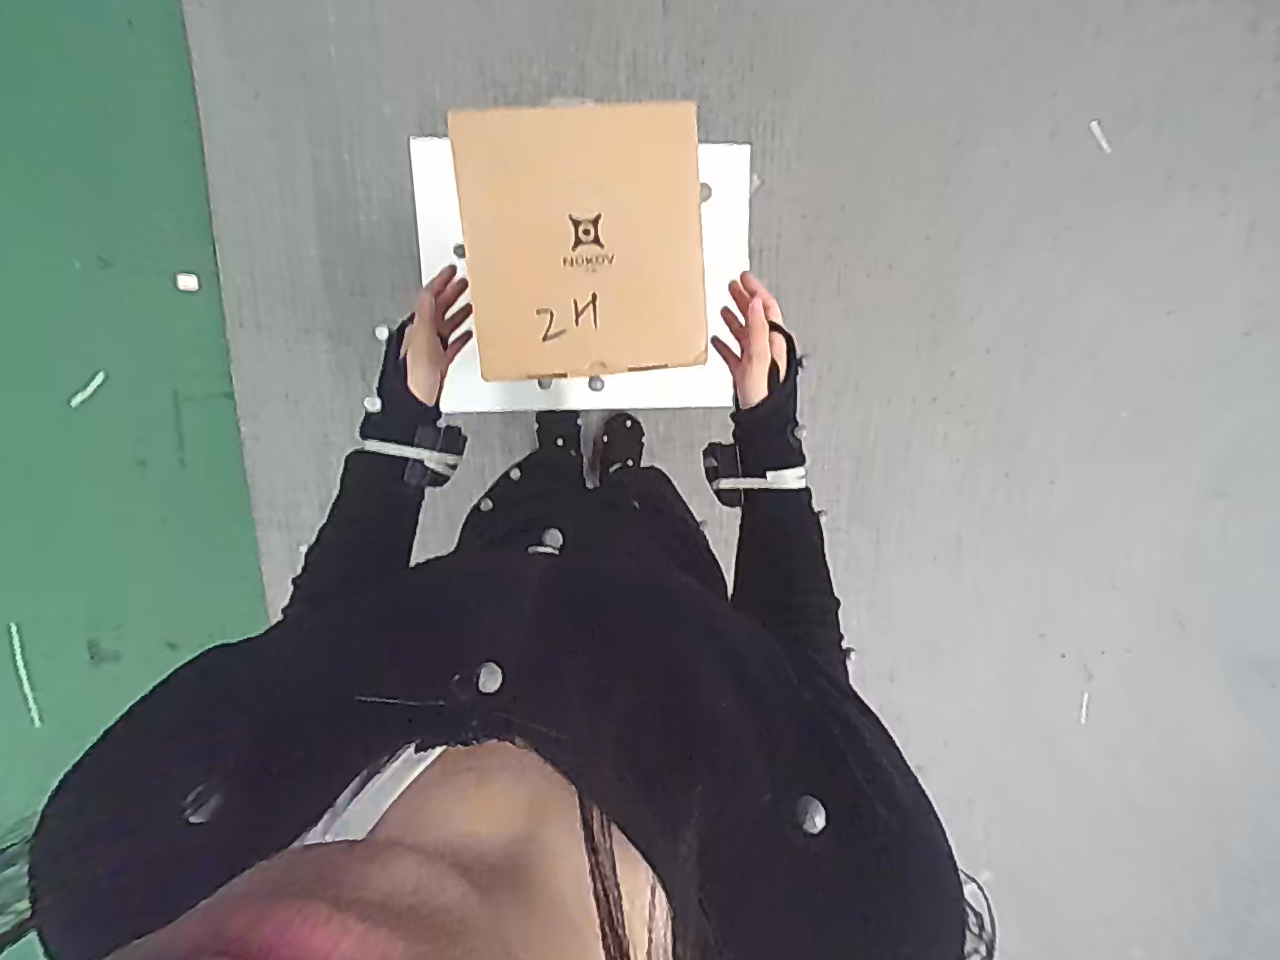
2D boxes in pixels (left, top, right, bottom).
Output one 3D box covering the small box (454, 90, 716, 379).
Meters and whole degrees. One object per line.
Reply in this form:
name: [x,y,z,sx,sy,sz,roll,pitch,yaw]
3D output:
small box: [-0.040,-0.177,0.440,0.168,0.176,0.179,-5,101,-4]
